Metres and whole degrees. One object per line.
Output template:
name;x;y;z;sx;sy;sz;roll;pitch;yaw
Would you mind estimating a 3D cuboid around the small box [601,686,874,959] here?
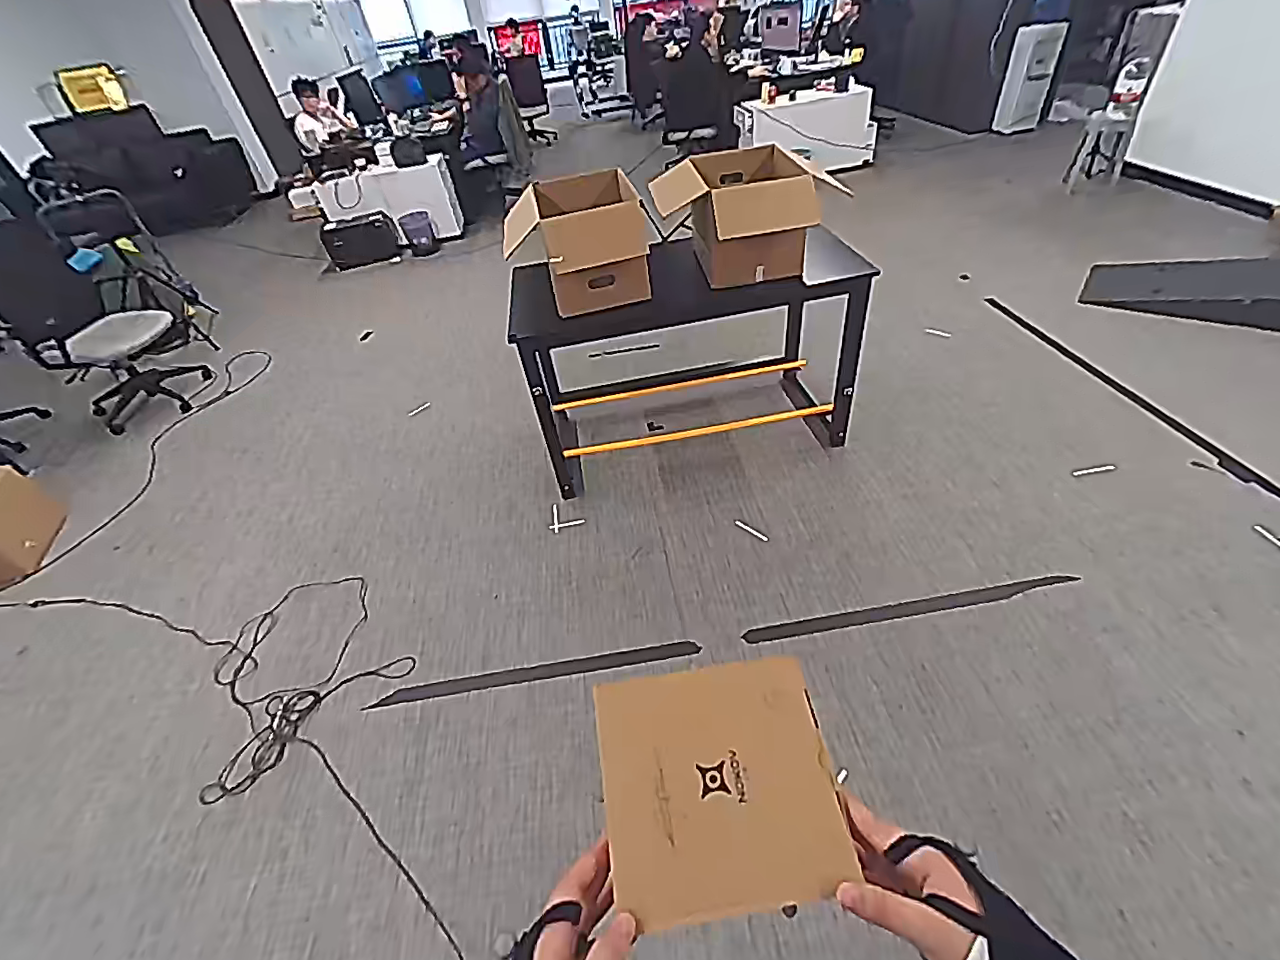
small box;0.067;0.296;0.475;0.179;0.176;0.168;-9;56;-4
